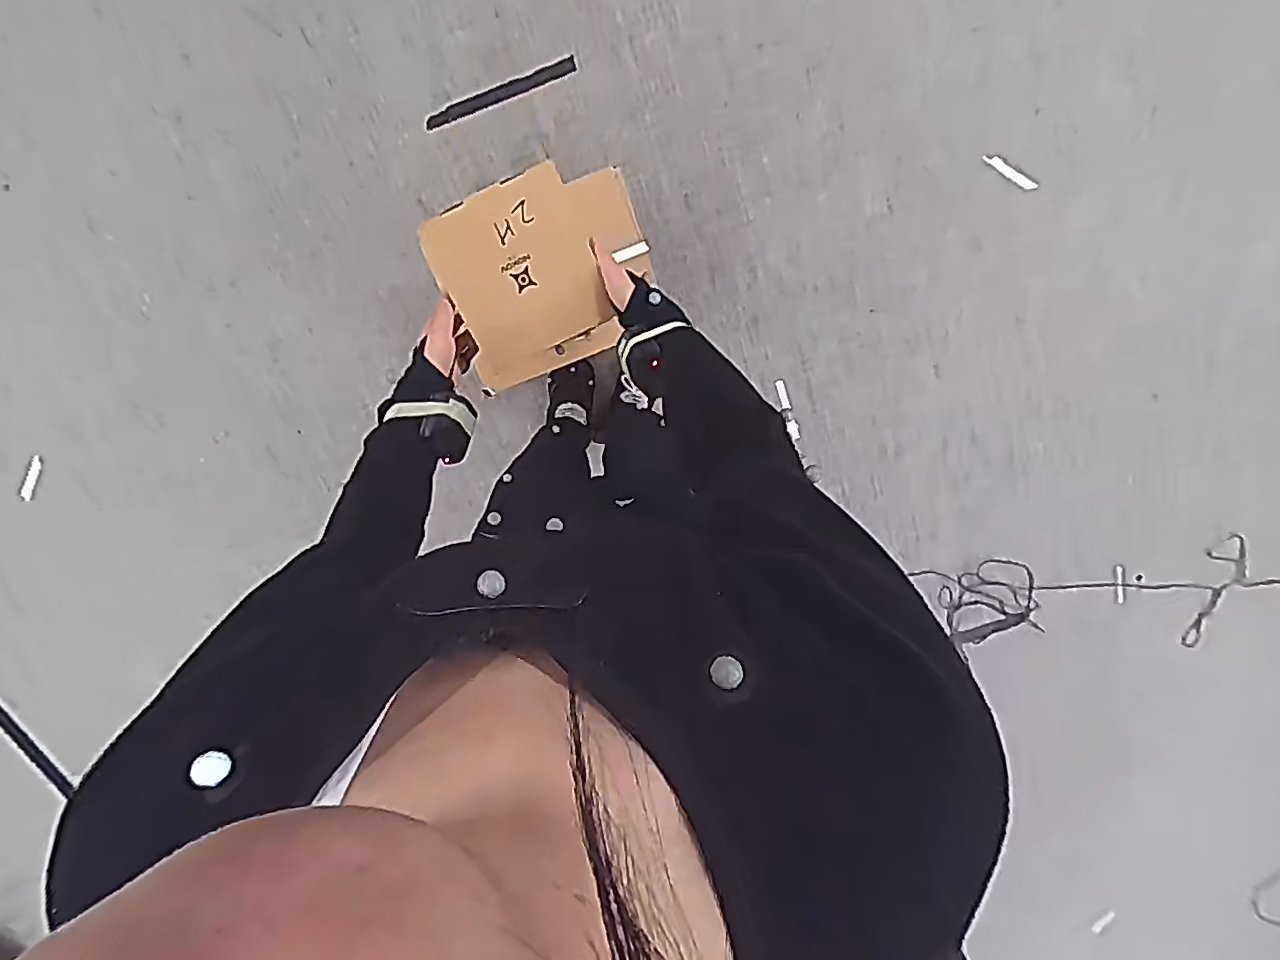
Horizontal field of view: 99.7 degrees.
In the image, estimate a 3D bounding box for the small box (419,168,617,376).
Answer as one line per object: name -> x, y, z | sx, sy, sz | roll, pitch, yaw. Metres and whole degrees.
small box -> -0.139, -0.252, 0.679 | 0.168, 0.176, 0.179 | -25, 108, 1
